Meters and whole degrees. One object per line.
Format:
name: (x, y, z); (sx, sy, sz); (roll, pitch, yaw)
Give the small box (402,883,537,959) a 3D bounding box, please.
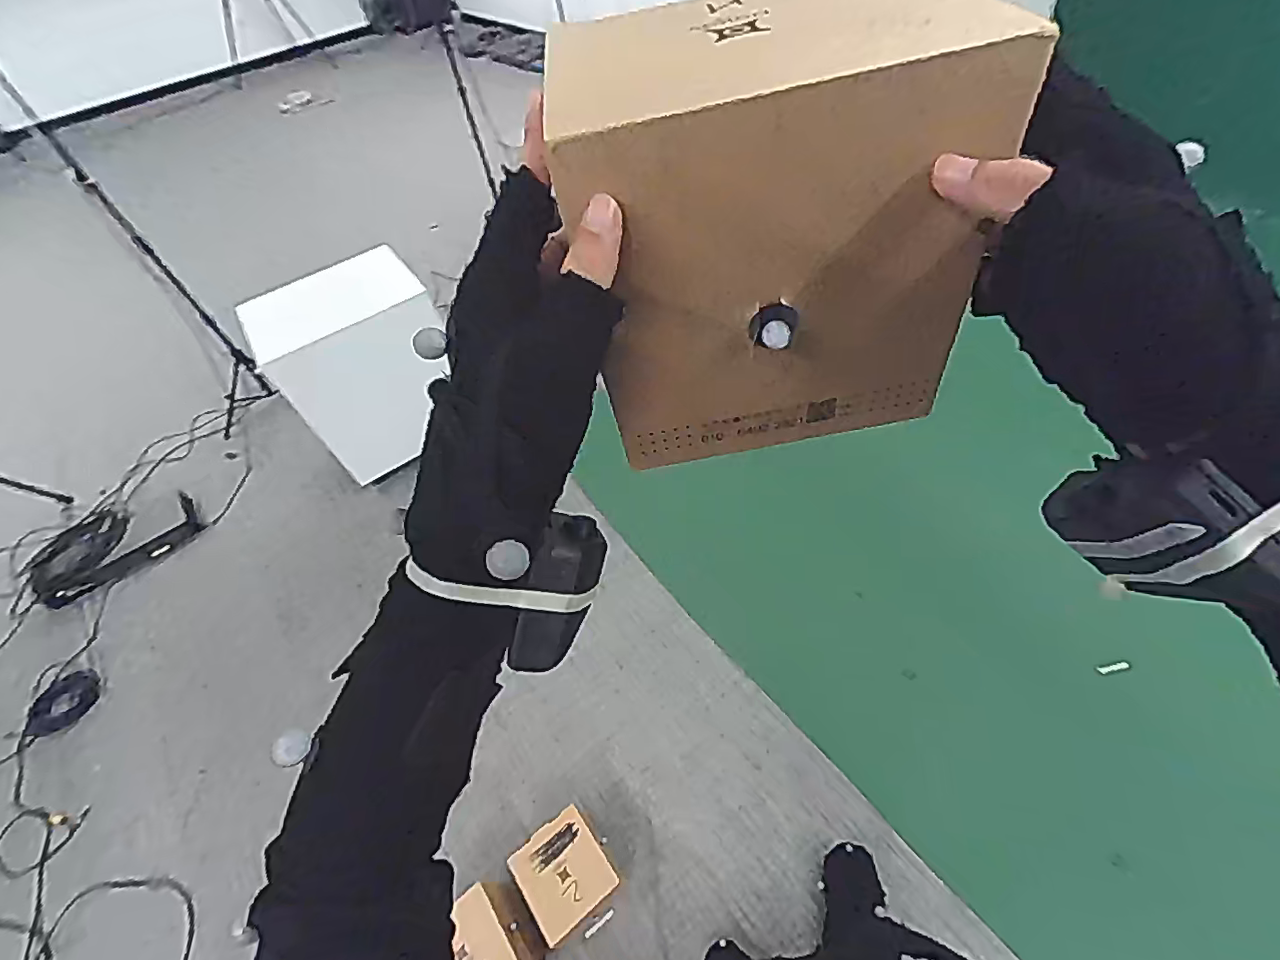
small box: (-0.328, 0.941, 1.069); (0.168, 0.176, 0.179); (-35, 54, -18)
